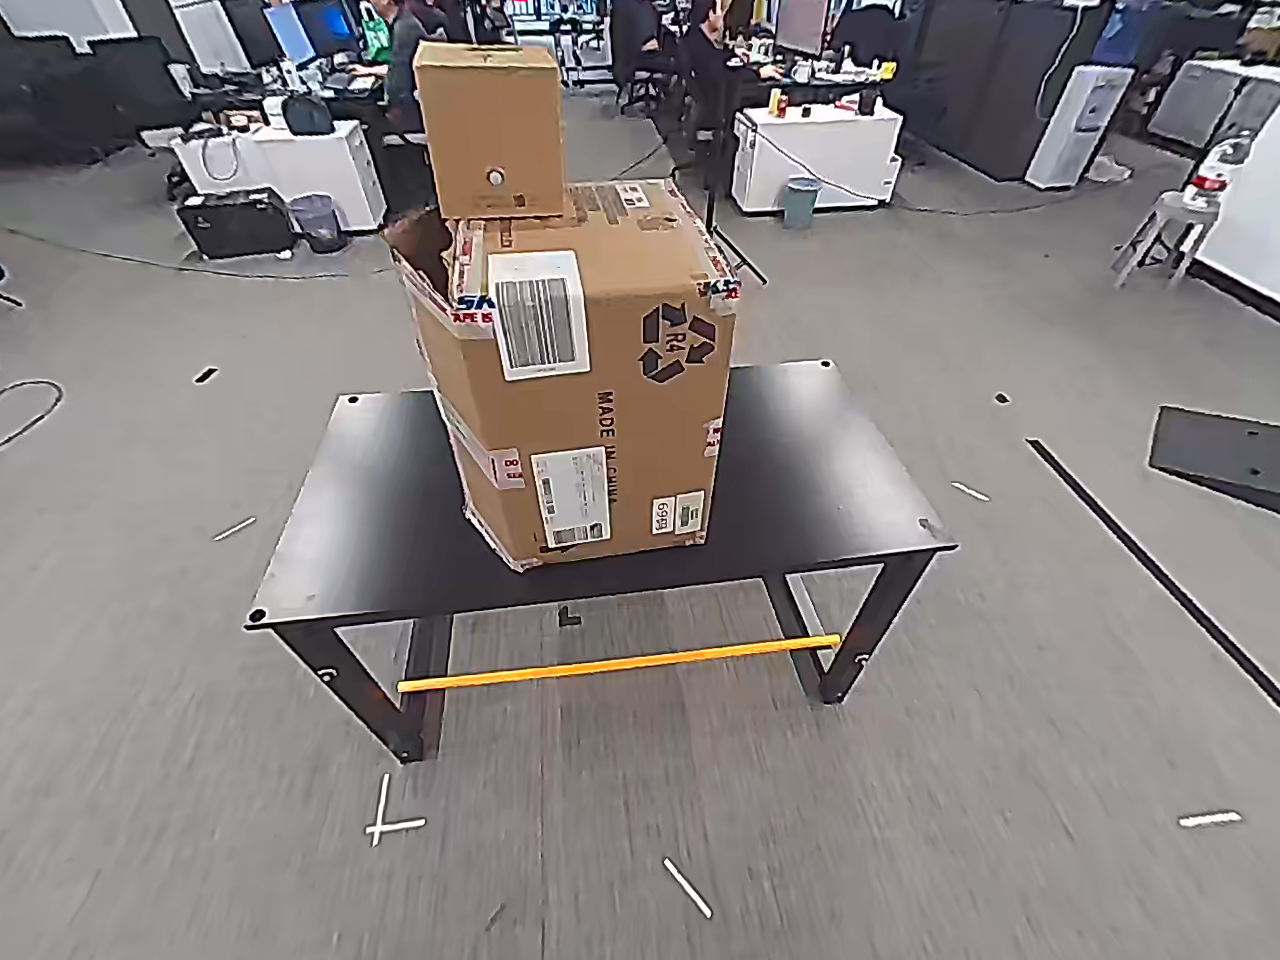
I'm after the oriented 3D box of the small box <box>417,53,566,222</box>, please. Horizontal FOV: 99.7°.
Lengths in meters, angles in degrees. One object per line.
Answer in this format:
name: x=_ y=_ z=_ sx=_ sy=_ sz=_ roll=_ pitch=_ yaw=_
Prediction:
small box: x=-0.194 y=-0.467 z=0.738 sx=0.168 sy=0.176 sz=0.179 roll=-8 pitch=44 yaw=-11
